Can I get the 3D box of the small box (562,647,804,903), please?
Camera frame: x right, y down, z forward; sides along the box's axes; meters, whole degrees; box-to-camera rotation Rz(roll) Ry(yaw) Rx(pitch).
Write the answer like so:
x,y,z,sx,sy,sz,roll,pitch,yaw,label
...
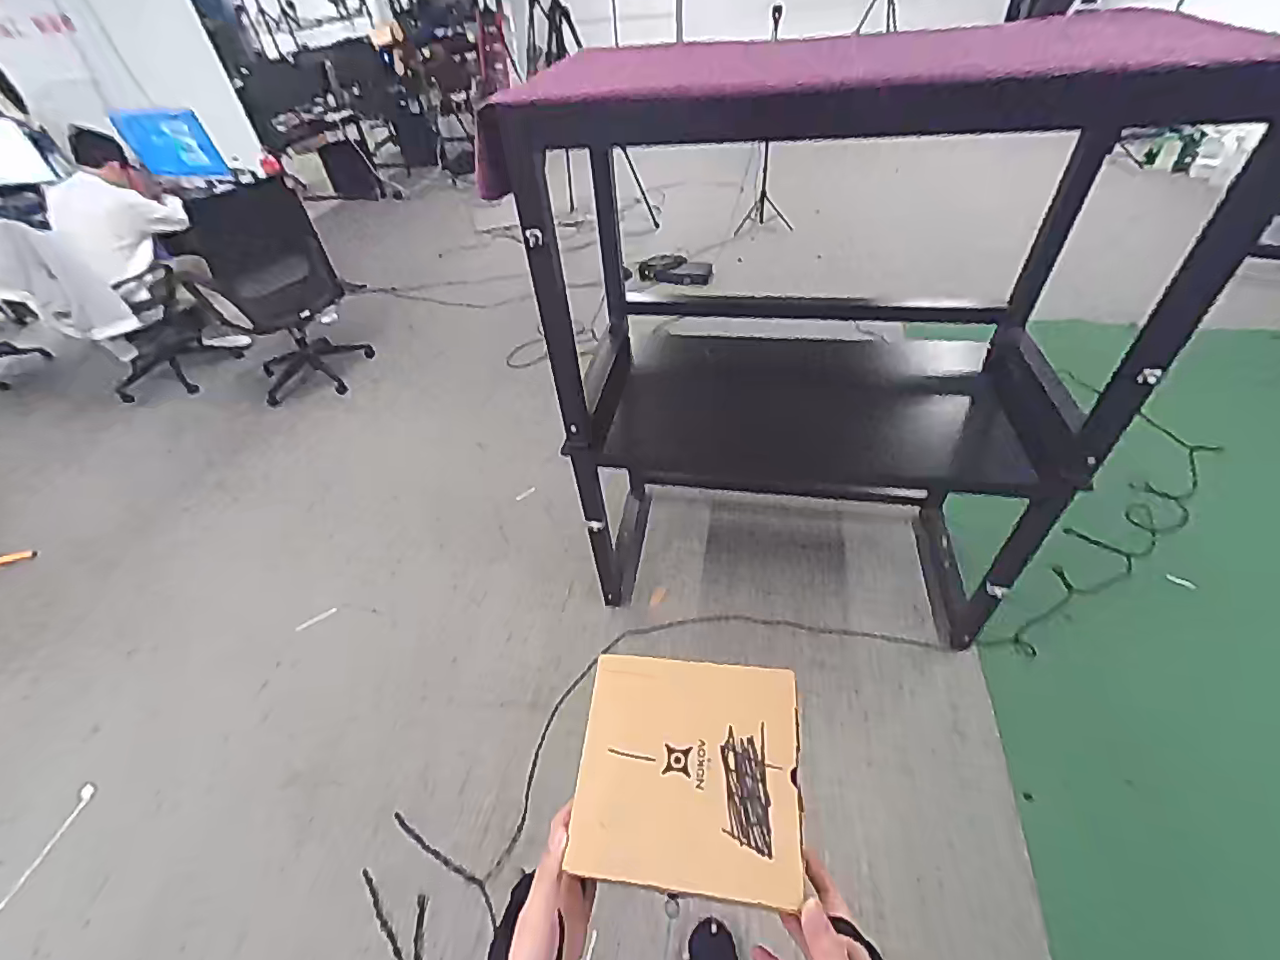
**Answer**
x,y,z,sx,sy,sz,roll,pitch,yaw,label
0.047,0.269,0.495,0.179,0.176,0.168,1,52,11,small box
